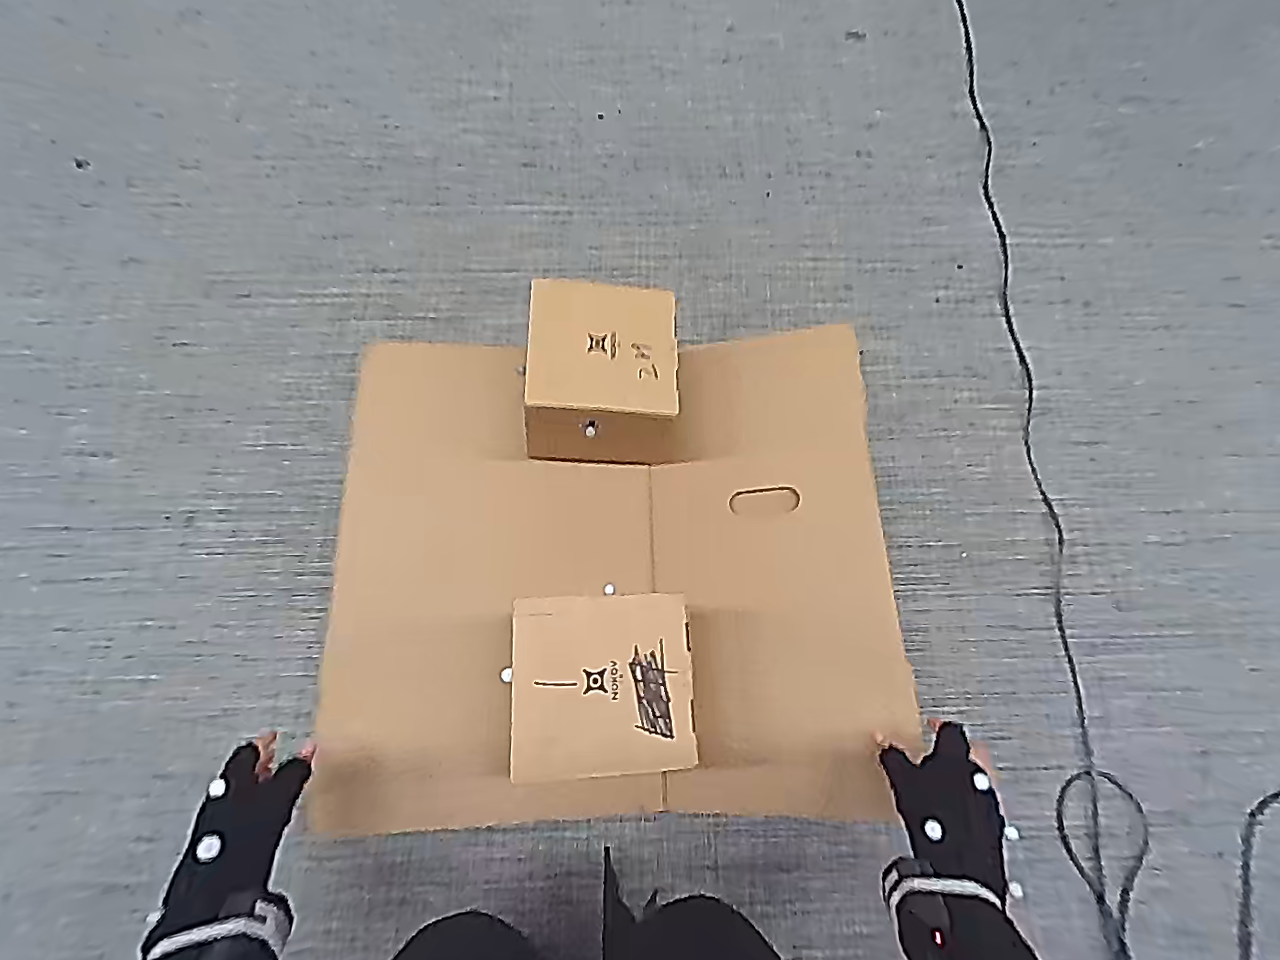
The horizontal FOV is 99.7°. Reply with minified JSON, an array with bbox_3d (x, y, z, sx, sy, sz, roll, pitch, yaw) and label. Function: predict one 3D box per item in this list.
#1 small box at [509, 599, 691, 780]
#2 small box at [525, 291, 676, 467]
[{"bbox_3d":[-0.048,0.224,0.610,0.179,0.176,0.168,-1,73,-7],"label":"small box"},{"bbox_3d":[-0.054,-0.121,0.712,0.179,0.176,0.168,3,73,-9],"label":"small box"}]
